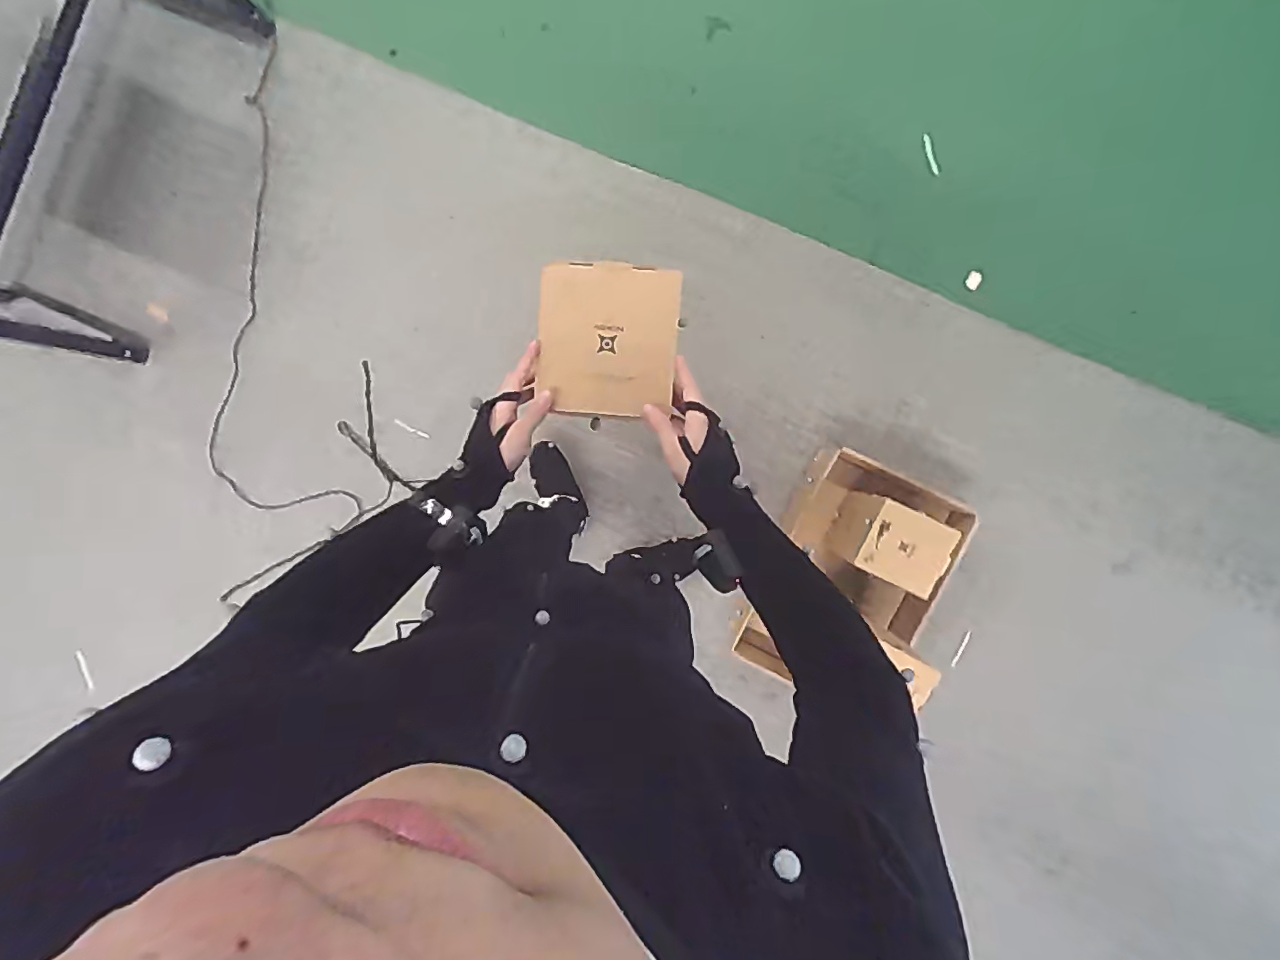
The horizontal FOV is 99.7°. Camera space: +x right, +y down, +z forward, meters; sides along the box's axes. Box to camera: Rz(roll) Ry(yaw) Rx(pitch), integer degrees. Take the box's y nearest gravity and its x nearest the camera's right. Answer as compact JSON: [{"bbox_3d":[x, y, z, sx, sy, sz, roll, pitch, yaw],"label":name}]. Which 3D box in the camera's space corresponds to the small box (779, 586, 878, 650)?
[{"bbox_3d":[0.491,0.399,1.444,0.179,0.176,0.168,28,93,5],"label":"small box"}]

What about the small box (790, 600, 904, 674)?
[{"bbox_3d":[0.477,0.402,1.280,0.179,0.176,0.168,29,93,5],"label":"small box"}]

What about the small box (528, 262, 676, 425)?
[{"bbox_3d":[-0.045,-0.168,0.715,0.168,0.176,0.179,4,94,1],"label":"small box"}]

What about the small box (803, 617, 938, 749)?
[{"bbox_3d":[0.463,0.405,1.116,0.179,0.176,0.168,28,92,6],"label":"small box"}]

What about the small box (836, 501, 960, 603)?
[{"bbox_3d":[0.590,0.157,1.261,0.179,0.176,0.168,27,93,5],"label":"small box"}]
